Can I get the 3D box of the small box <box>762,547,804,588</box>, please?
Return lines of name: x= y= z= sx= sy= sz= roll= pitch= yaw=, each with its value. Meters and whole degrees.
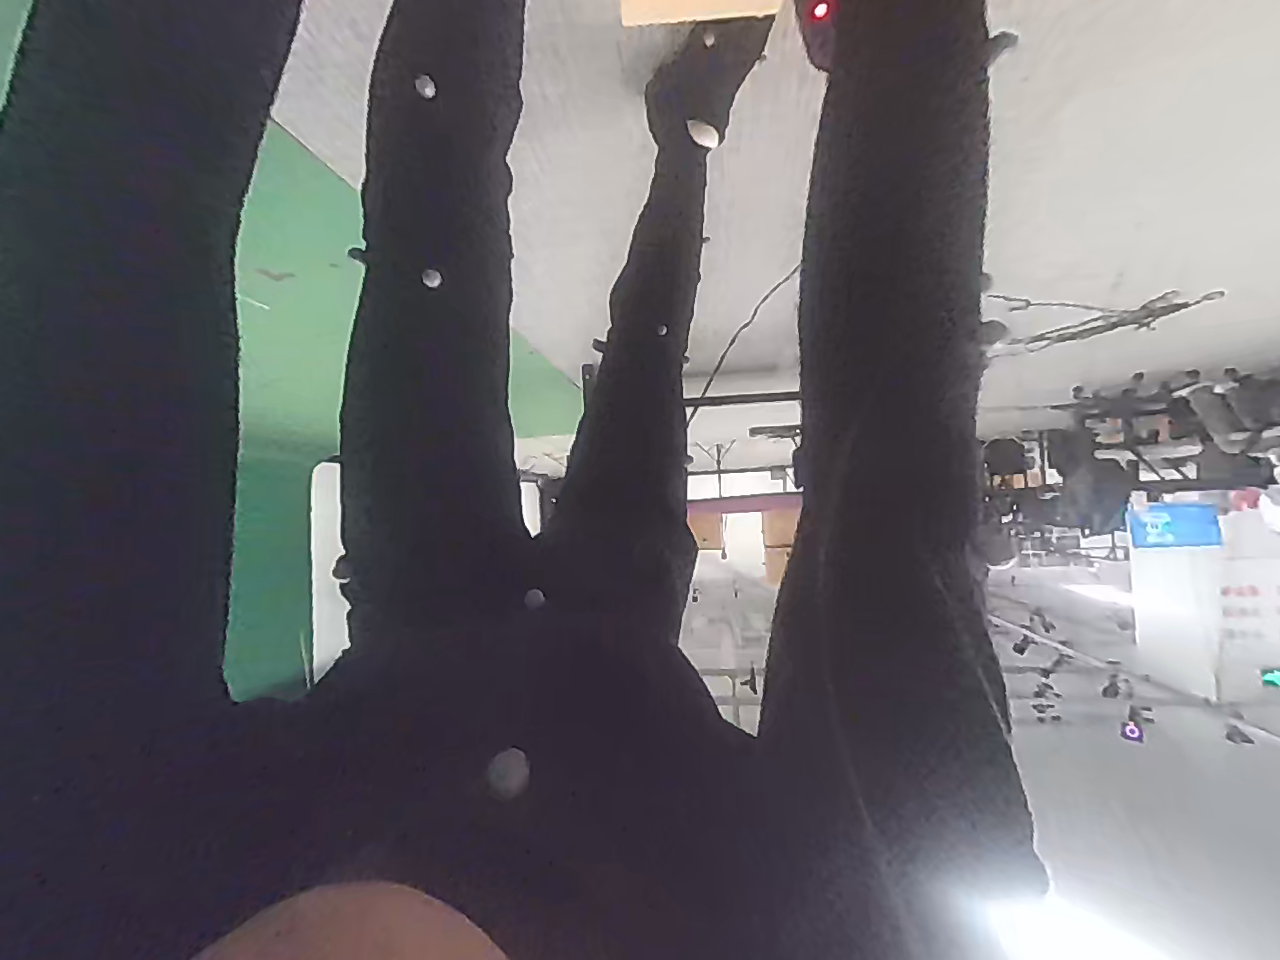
small box: x=0.657 y=0.399 z=2.492 sx=0.168 sy=0.176 sz=0.179 roll=-4 pitch=178 yaw=9

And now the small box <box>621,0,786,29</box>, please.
small box: x=0.059 y=-0.554 z=0.476 sx=0.168 sy=0.176 sz=0.179 roll=-4 pitch=177 yaw=1

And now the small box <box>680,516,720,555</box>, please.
small box: x=0.281 y=0.257 z=2.552 sx=0.179 sy=0.176 sz=0.168 roll=-2 pitch=178 yaw=3
